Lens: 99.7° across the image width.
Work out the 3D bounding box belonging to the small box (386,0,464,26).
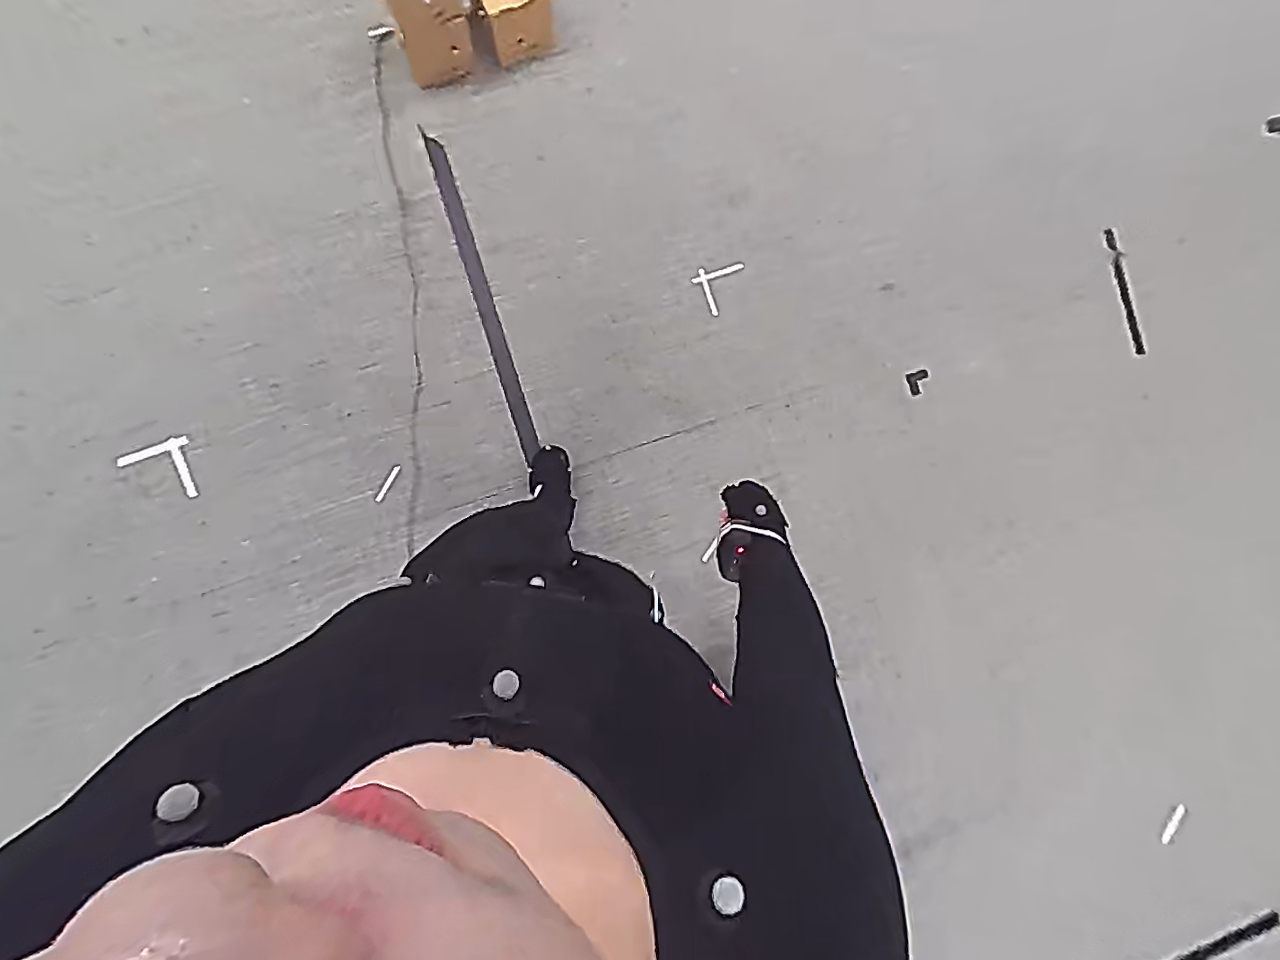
[{"bbox_3d":[-0.516,-1.169,1.205,0.168,0.176,0.179,-27,93,-6],"label":"small box"}]

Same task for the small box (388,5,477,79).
[{"bbox_3d":[-0.531,-1.163,1.369,0.168,0.176,0.179,-23,92,-5],"label":"small box"}]

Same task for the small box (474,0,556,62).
[{"bbox_3d":[-0.328,-1.238,1.388,0.168,0.176,0.179,-27,93,-5],"label":"small box"}]
